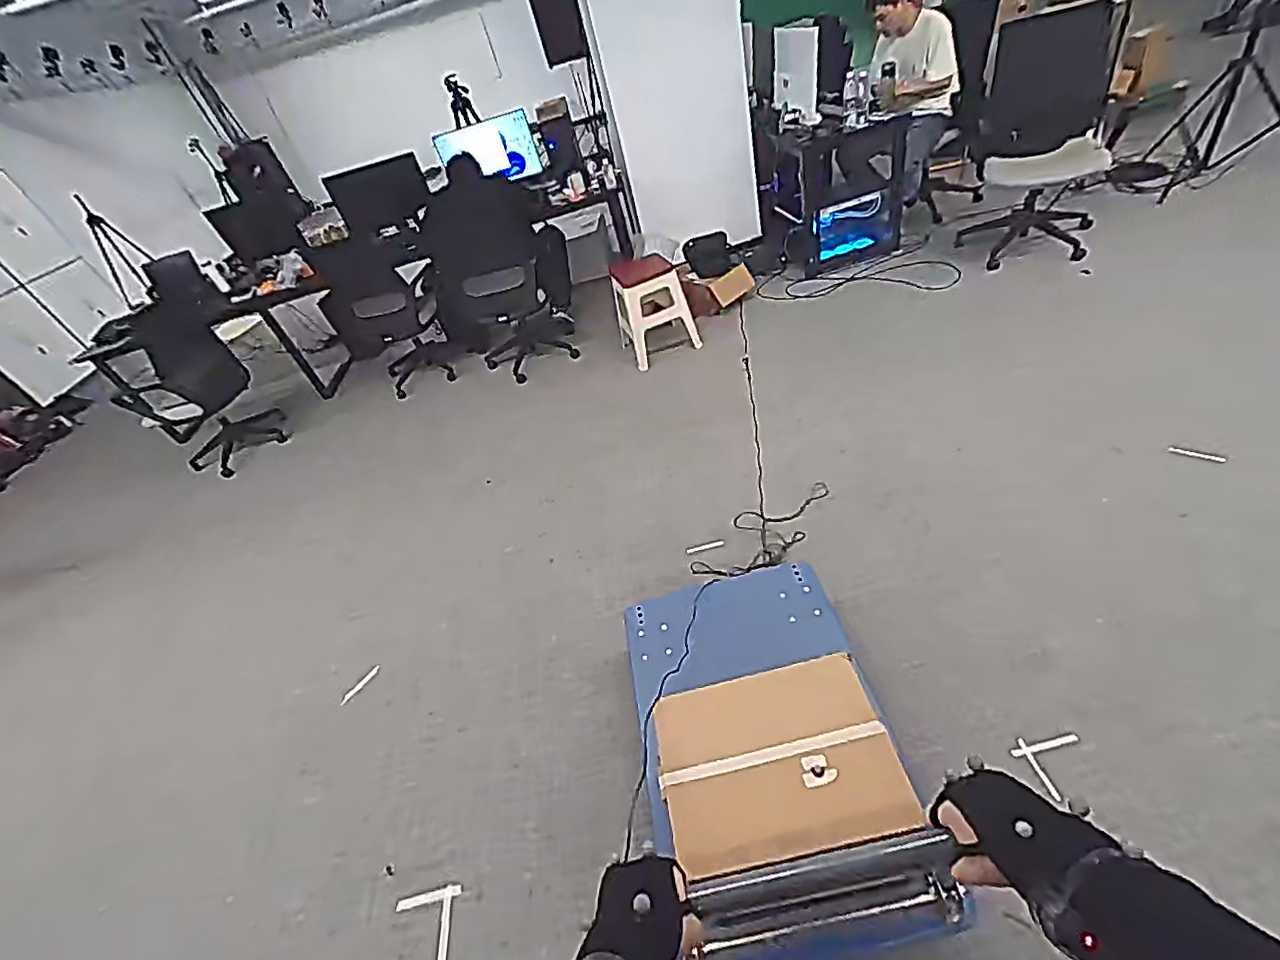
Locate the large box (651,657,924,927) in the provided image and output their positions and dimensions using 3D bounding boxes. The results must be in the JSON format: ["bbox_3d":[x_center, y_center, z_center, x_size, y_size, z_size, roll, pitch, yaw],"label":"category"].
[{"bbox_3d":[0.266,0.608,1.054,0.408,0.320,0.320,-15,41,3],"label":"large box"}]
